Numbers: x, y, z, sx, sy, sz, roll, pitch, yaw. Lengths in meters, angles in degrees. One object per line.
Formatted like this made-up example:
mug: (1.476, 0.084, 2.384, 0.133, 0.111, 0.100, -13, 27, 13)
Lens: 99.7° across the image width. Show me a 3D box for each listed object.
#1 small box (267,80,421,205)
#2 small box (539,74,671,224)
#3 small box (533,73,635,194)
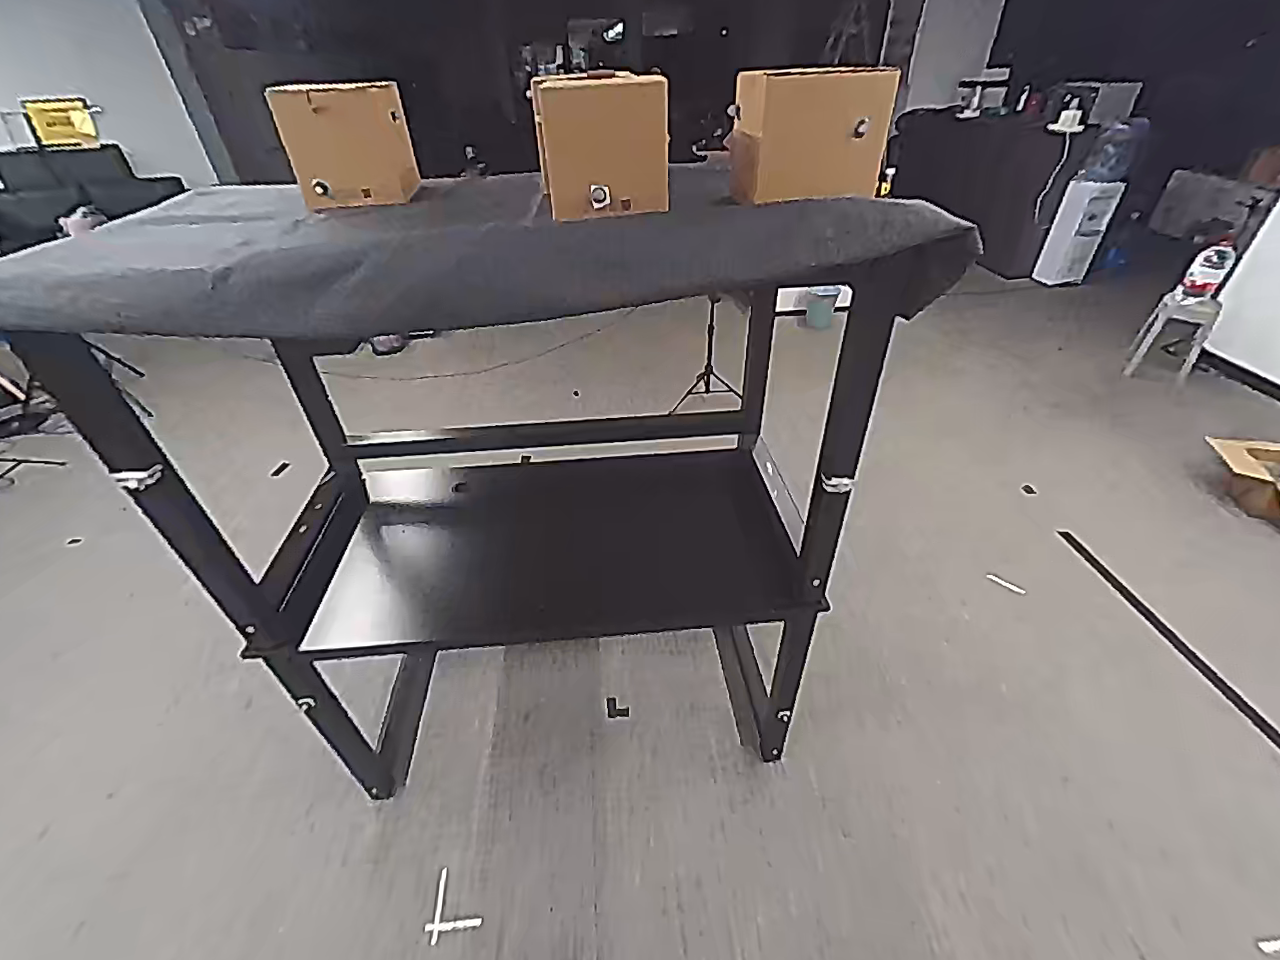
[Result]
small box: (-0.495, -0.584, 0.939, 0.168, 0.176, 0.179, -6, 38, -6)
small box: (-0.045, -0.478, 0.782, 0.168, 0.176, 0.179, -4, 37, -1)
small box: (-0.090, -0.622, 0.970, 0.179, 0.176, 0.168, -4, 38, -4)
